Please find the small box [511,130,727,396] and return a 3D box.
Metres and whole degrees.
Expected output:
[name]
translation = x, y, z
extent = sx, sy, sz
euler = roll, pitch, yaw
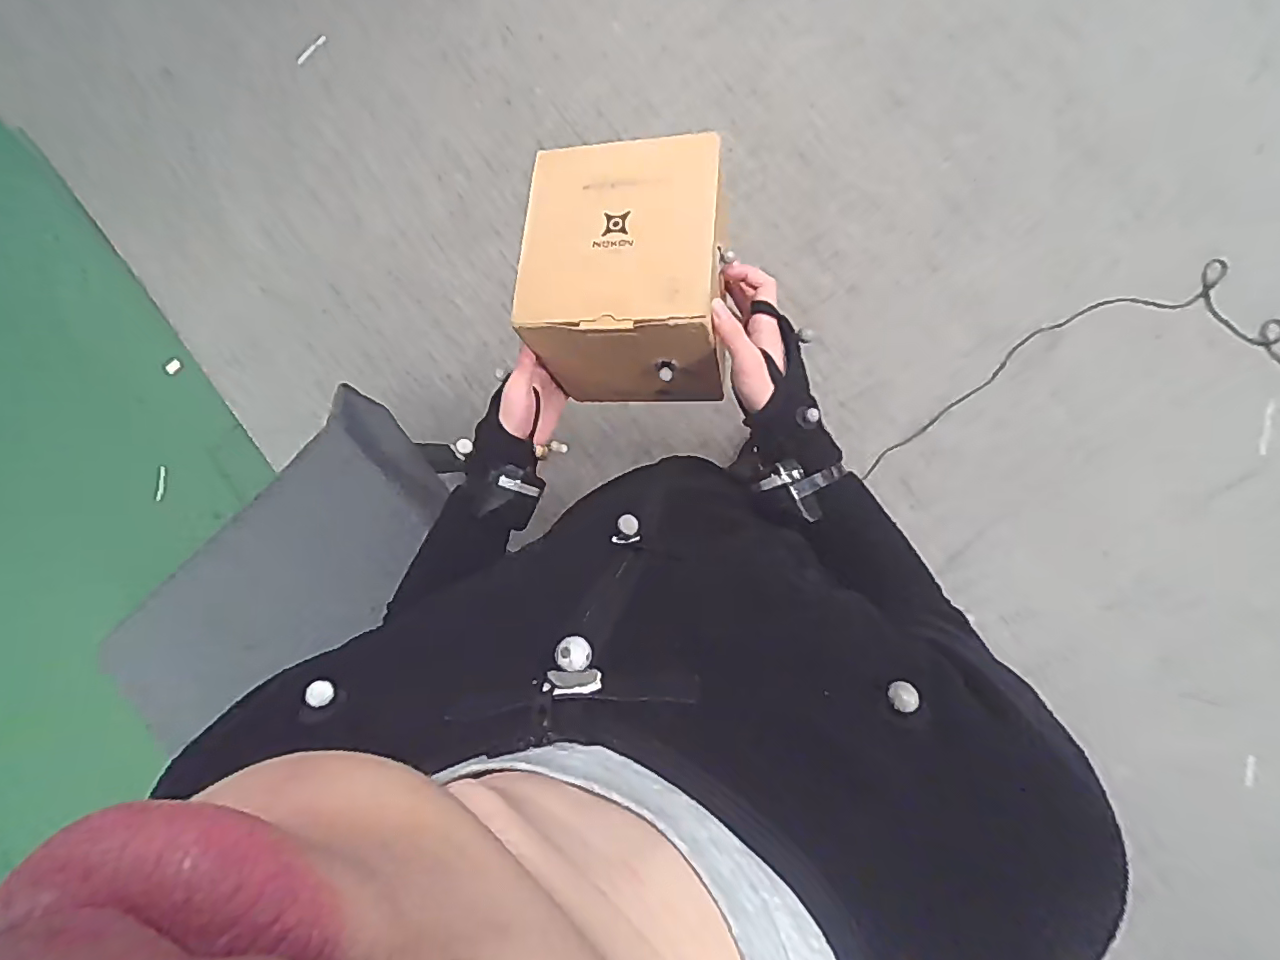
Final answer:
[small box]
translation = -0.005, -0.190, 0.521
extent = 0.168, 0.176, 0.179
euler = 2, 75, 12
